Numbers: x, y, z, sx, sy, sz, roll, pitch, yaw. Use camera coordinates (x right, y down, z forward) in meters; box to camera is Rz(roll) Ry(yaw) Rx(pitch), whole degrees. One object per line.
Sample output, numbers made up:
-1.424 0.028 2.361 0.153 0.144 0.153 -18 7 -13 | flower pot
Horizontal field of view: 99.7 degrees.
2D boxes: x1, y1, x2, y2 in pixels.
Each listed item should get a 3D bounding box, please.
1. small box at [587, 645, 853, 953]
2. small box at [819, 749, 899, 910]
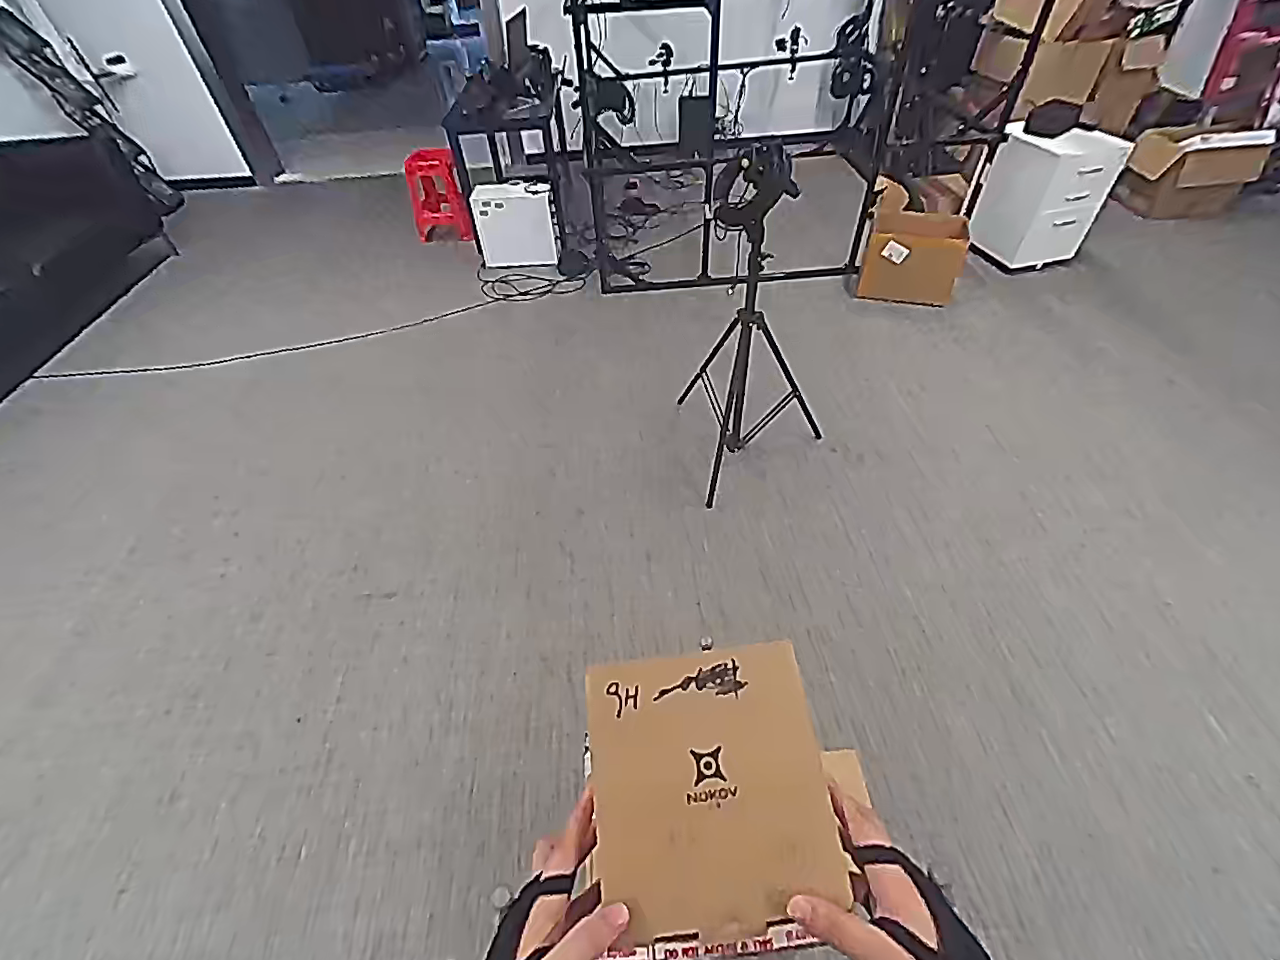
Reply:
0.051 0.246 0.457 0.168 0.176 0.179 -7 67 -3 | small box
0.239 0.514 0.788 0.168 0.176 0.179 -4 48 -2 | small box
